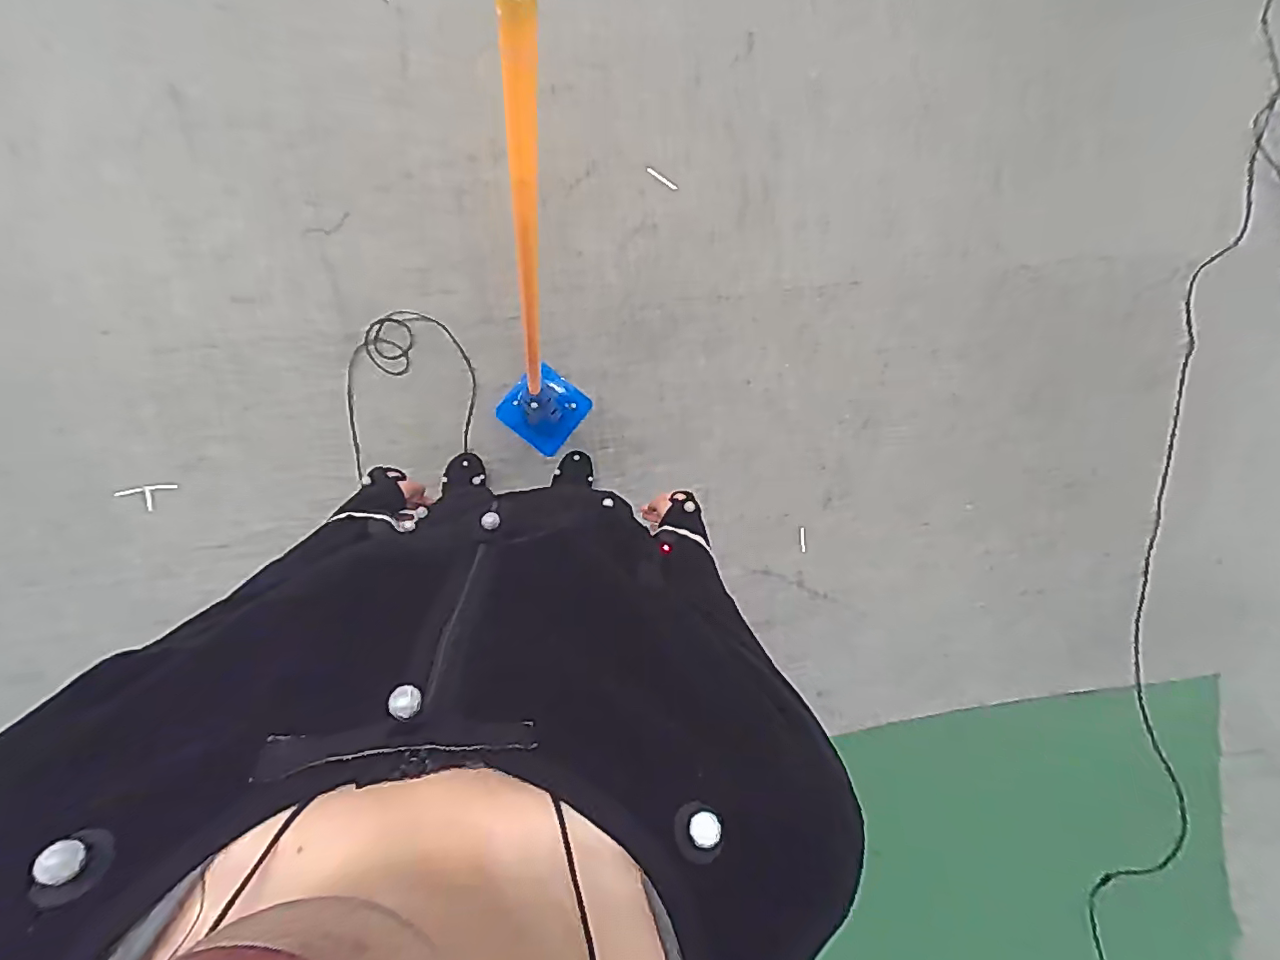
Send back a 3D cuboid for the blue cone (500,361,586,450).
[{"bbox_3d":[-0.238,-0.200,1.286,0.192,0.380,0.193,37,86,-7],"label":"blue cone"}]
